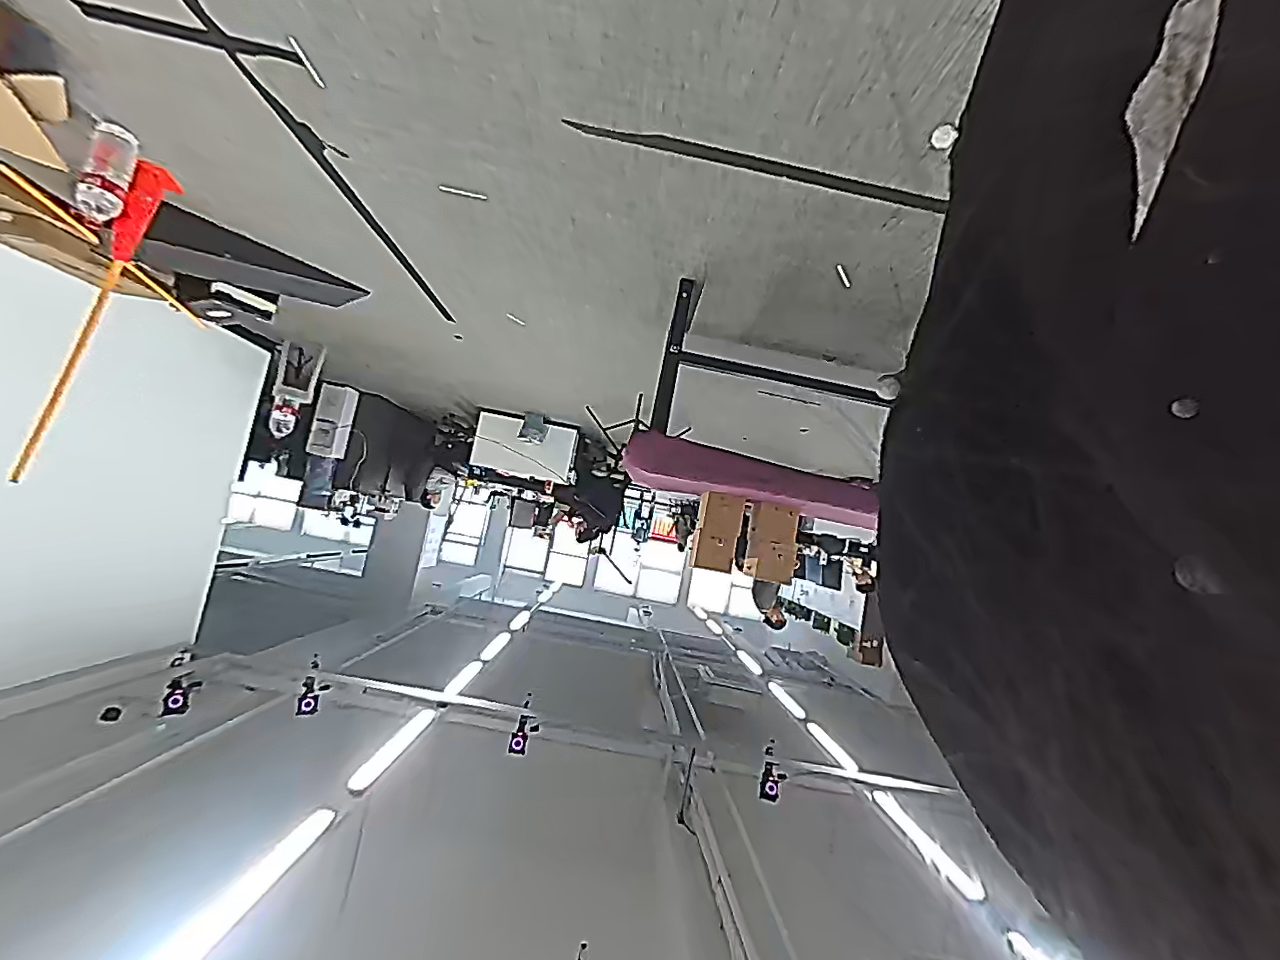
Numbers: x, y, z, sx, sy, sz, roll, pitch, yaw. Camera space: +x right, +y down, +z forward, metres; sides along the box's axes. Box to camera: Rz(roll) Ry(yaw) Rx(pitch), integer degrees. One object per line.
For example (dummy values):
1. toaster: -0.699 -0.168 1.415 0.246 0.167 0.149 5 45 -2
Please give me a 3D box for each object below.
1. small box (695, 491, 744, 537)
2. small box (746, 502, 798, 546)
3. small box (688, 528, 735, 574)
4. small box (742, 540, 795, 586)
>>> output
1. small box: 0.346 0.148 2.357 0.168 0.176 0.179 10 174 -3
2. small box: 0.574 0.190 2.347 0.168 0.176 0.179 11 174 -2
3. small box: 0.311 0.306 2.345 0.168 0.176 0.179 10 173 0
4. small box: 0.557 0.352 2.336 0.168 0.176 0.179 11 173 -5
